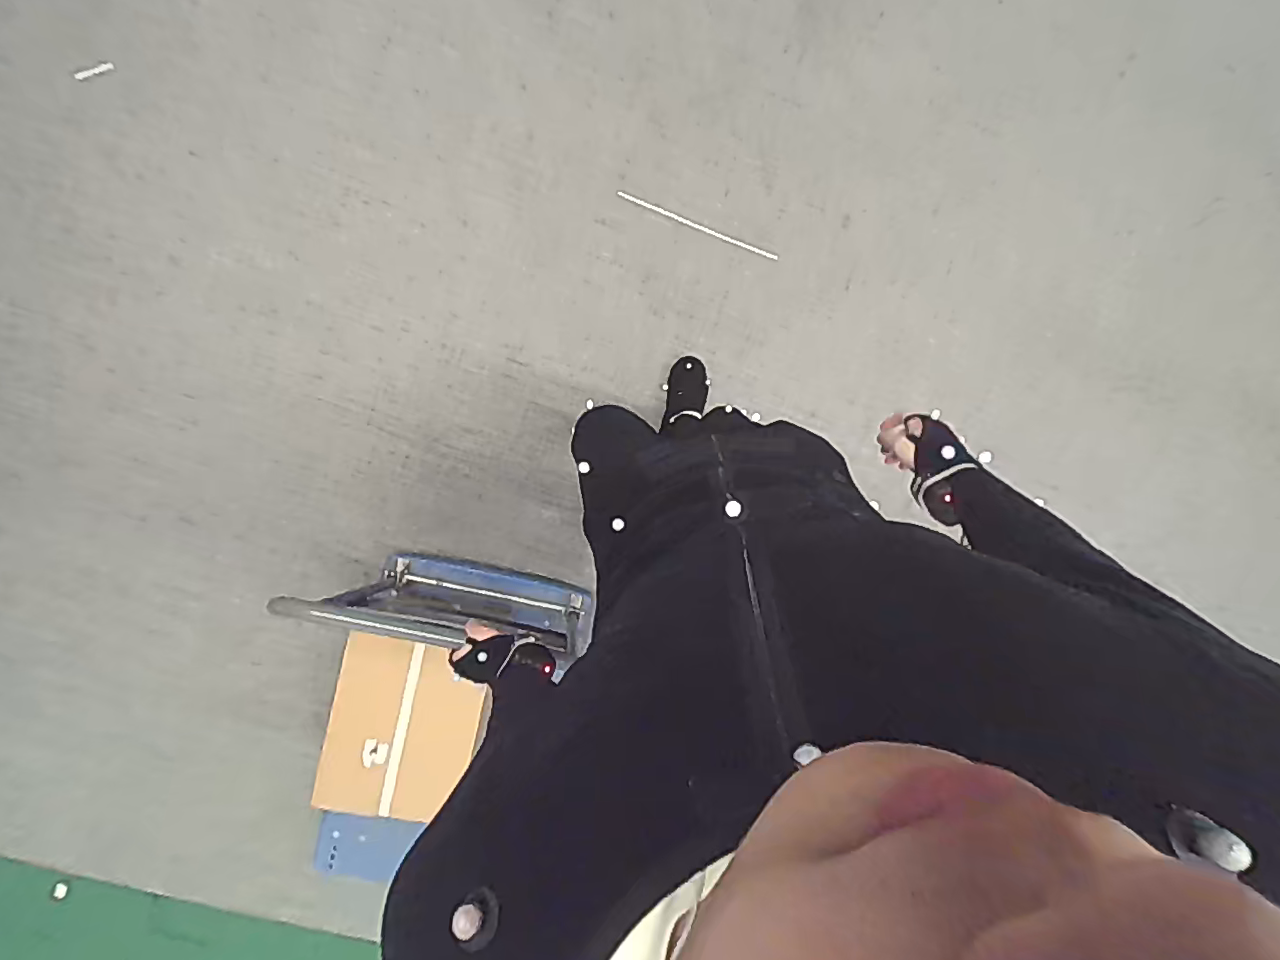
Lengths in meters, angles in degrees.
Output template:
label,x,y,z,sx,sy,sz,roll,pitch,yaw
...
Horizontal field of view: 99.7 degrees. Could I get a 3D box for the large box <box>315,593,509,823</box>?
label,x,y,z,sx,sy,sz,roll,pitch,yaw
large box,-0.520,0.521,1.309,0.320,0.320,0.408,13,89,-6
